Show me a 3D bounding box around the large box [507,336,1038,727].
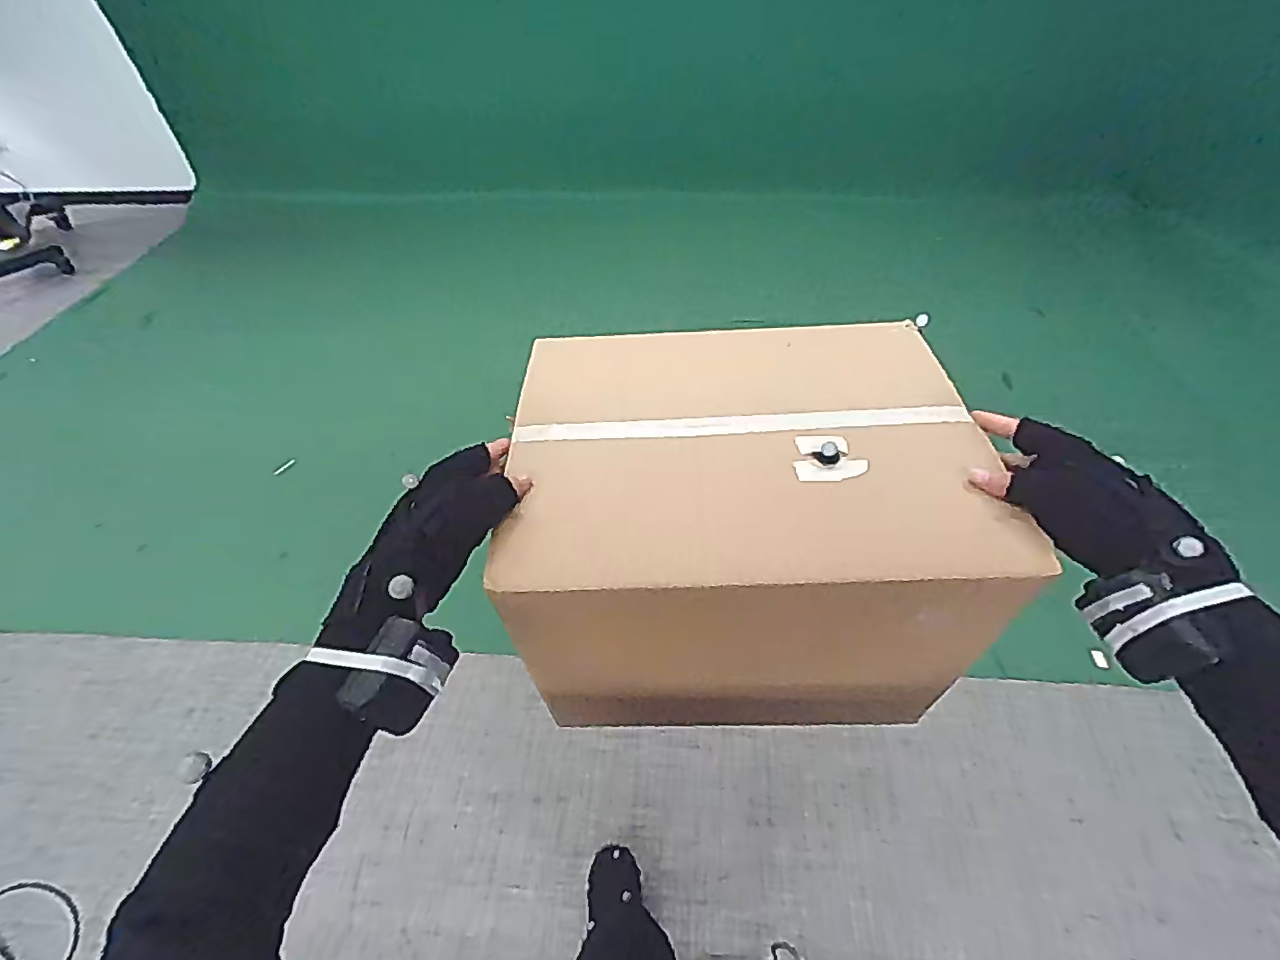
[{"bbox_3d":[0.098,0.063,0.606,0.408,0.320,0.320,-2,49,1],"label":"large box"}]
